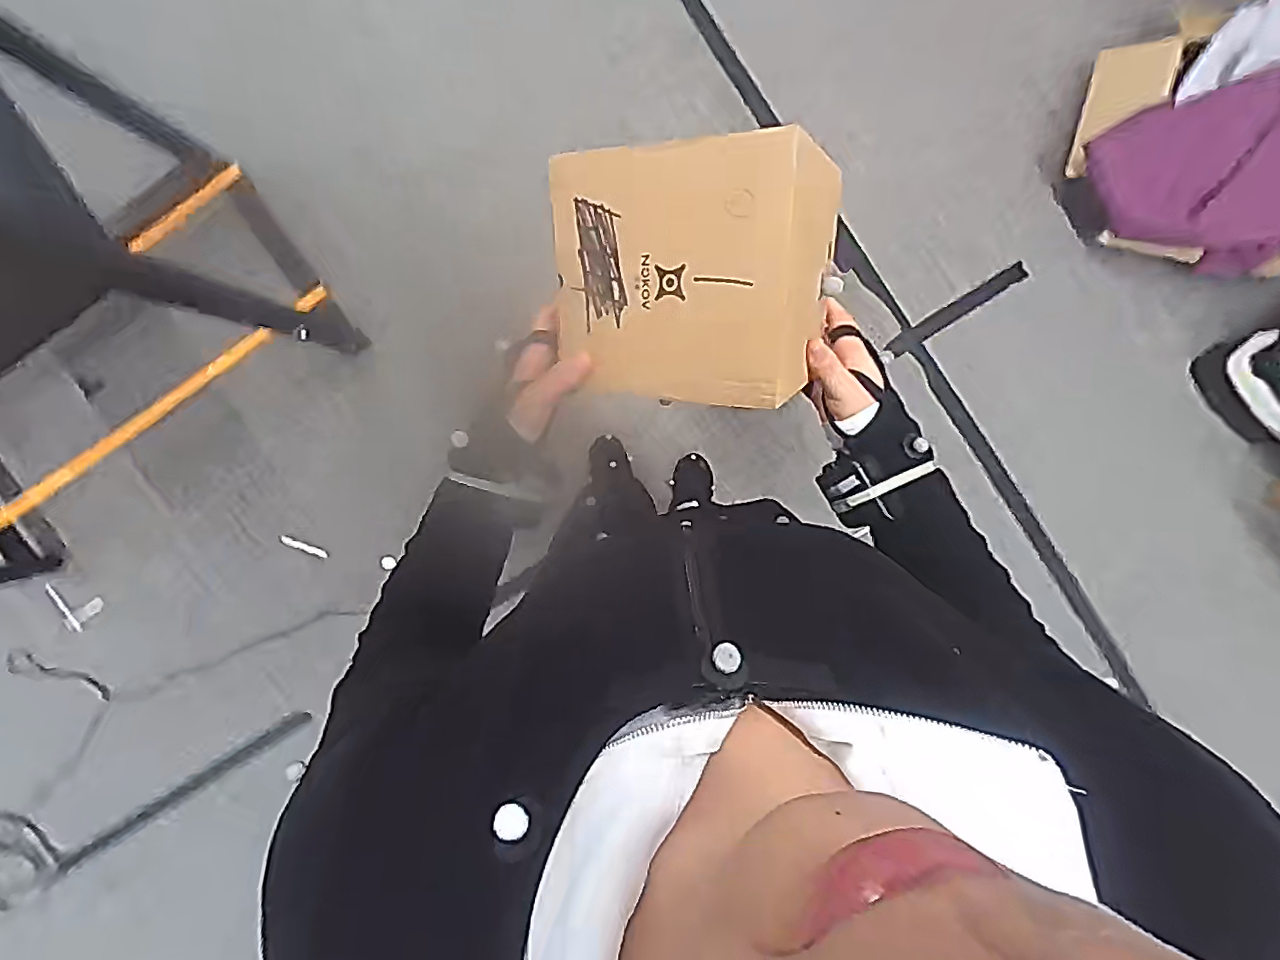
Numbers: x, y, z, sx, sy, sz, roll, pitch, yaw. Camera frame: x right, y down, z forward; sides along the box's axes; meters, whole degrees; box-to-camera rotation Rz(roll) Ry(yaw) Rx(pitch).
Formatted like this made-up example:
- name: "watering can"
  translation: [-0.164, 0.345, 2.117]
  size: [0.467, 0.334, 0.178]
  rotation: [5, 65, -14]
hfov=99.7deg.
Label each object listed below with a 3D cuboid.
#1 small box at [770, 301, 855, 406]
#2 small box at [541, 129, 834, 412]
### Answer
- name: "small box"
  translation: [0.275, -0.262, 1.055]
  size: [0.179, 0.176, 0.168]
  rotation: [-39, 91, 4]
- name: "small box"
  translation: [0.046, -0.158, 0.432]
  size: [0.179, 0.176, 0.168]
  rotation: [8, 113, 25]
